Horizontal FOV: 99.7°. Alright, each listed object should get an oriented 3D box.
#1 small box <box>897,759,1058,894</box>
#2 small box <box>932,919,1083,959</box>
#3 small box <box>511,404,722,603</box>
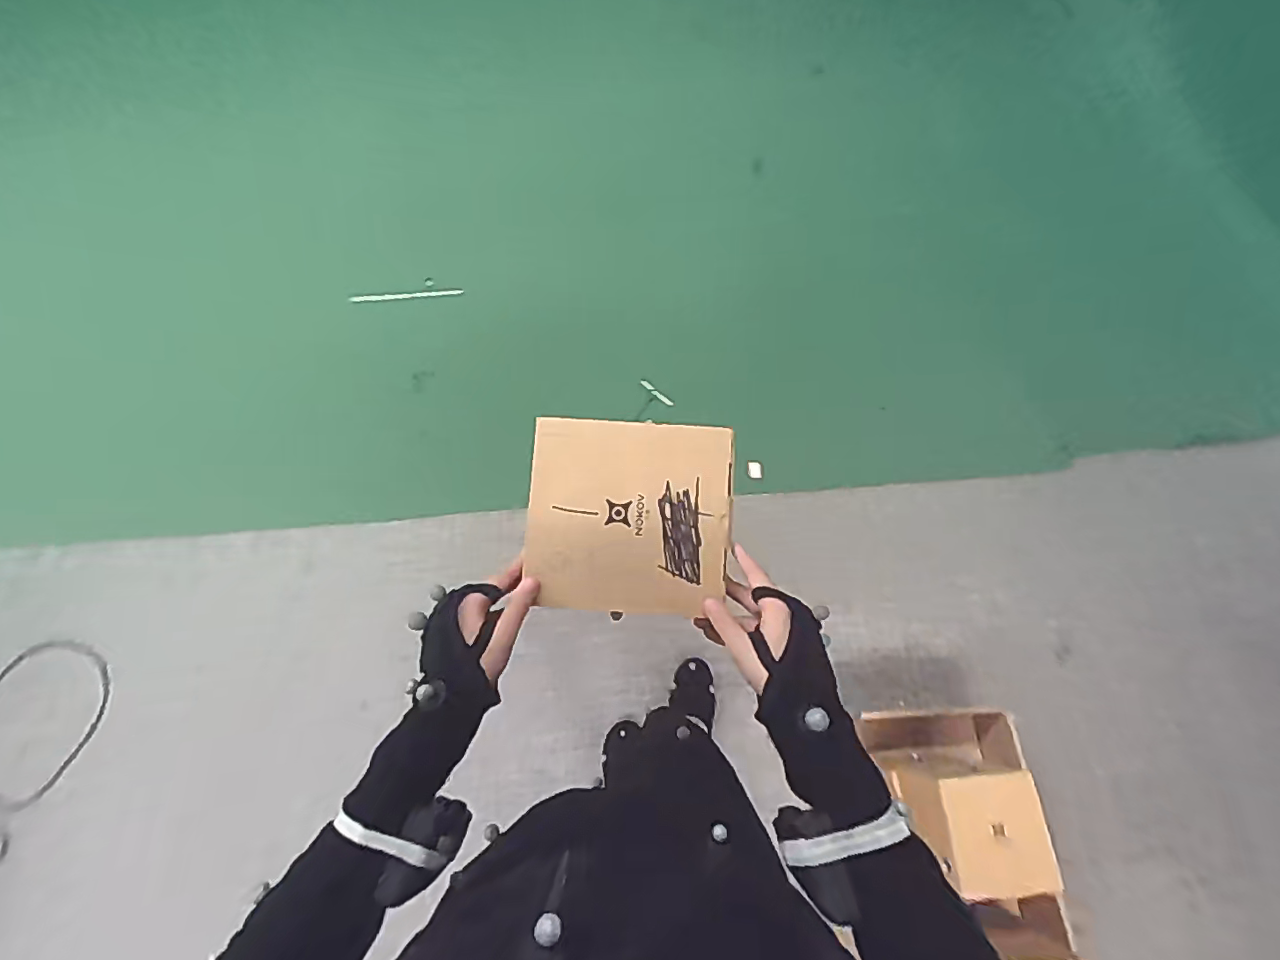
[{"bbox_3d":[0.589,0.609,0.974,0.168,0.176,0.179,-4,69,-1],"label":"small box"},{"bbox_3d":[0.603,0.846,0.879,0.179,0.176,0.168,-2,68,0],"label":"small box"},{"bbox_3d":[-0.018,0.028,0.550,0.179,0.176,0.168,4,82,2],"label":"small box"}]
